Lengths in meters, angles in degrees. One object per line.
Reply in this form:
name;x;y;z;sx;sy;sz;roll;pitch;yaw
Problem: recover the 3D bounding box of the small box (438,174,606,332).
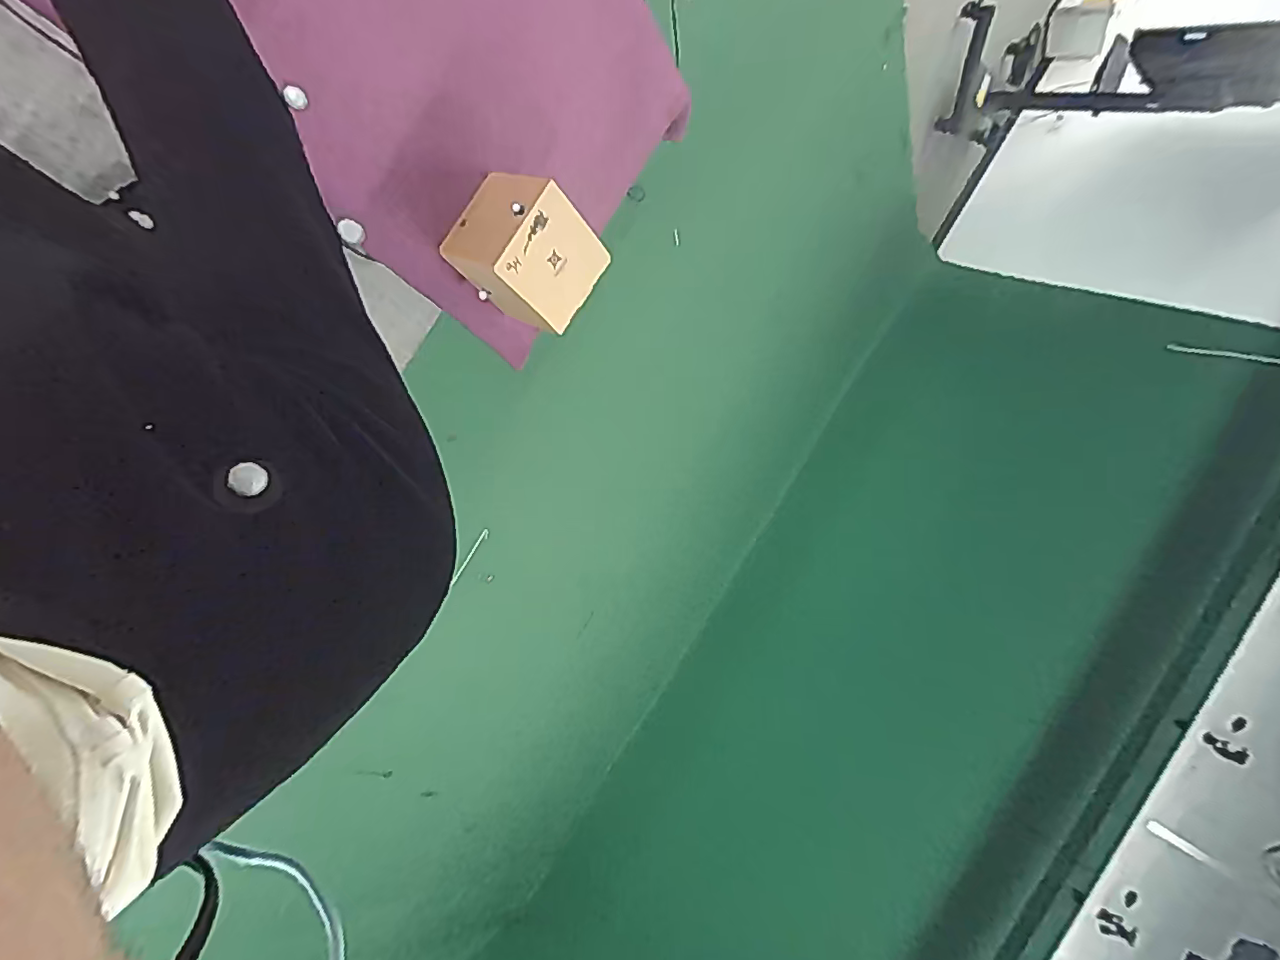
small box;-0.196;-0.384;0.908;0.168;0.176;0.179;-58;145;-4
